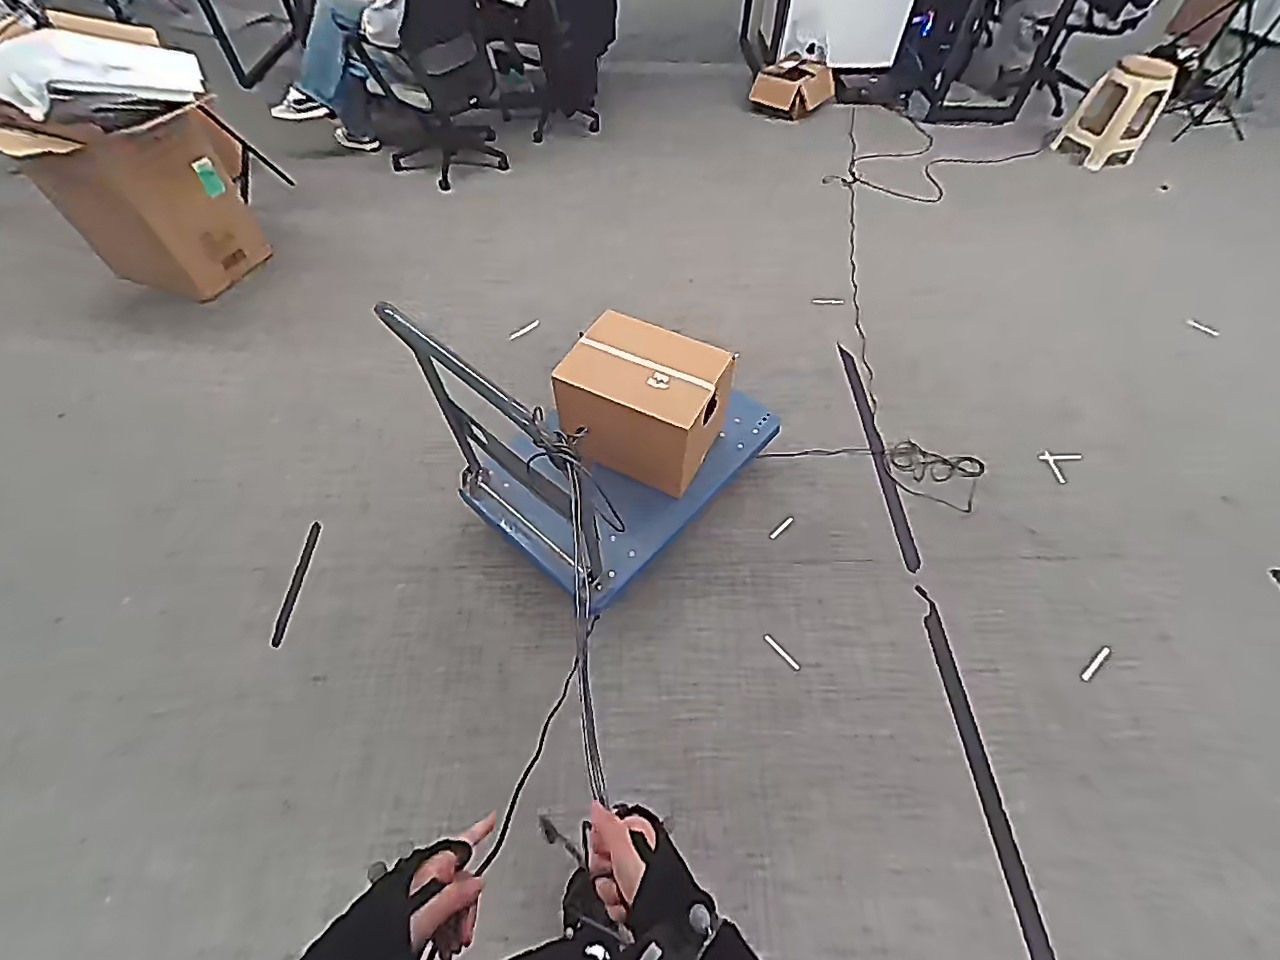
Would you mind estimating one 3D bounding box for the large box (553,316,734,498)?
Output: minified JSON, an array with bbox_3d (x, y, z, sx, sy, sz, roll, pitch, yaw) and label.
[{"bbox_3d":[0.009,-0.210,1.563,0.408,0.320,0.320,24,58,14],"label":"large box"}]
